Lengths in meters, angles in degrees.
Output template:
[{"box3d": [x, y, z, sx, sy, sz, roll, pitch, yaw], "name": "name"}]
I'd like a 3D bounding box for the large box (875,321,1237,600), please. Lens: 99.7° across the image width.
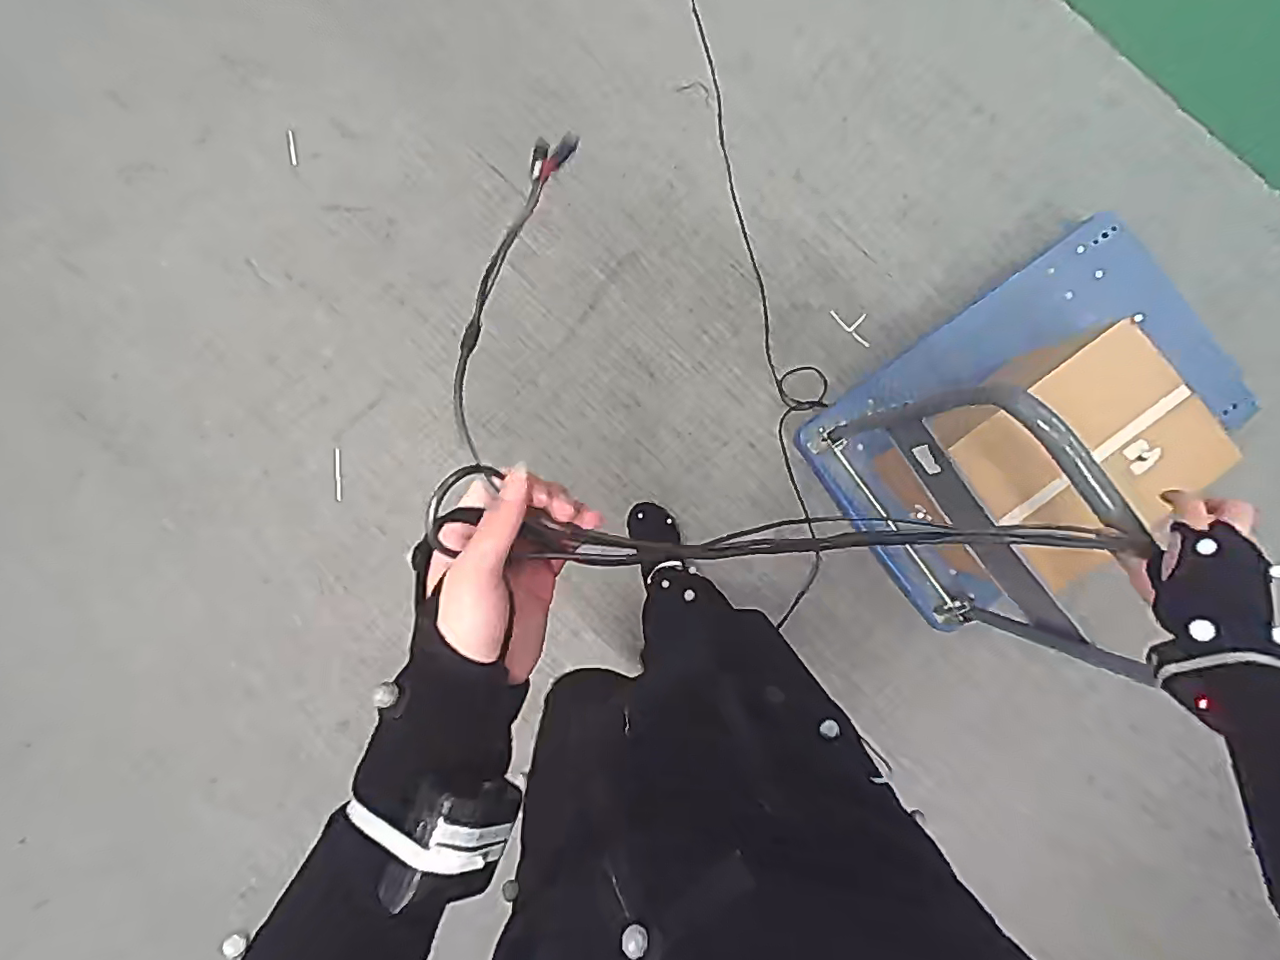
[{"box3d": [0.767, -0.028, 1.069, 0.408, 0.320, 0.320, -37, 88, 1], "name": "large box"}]
